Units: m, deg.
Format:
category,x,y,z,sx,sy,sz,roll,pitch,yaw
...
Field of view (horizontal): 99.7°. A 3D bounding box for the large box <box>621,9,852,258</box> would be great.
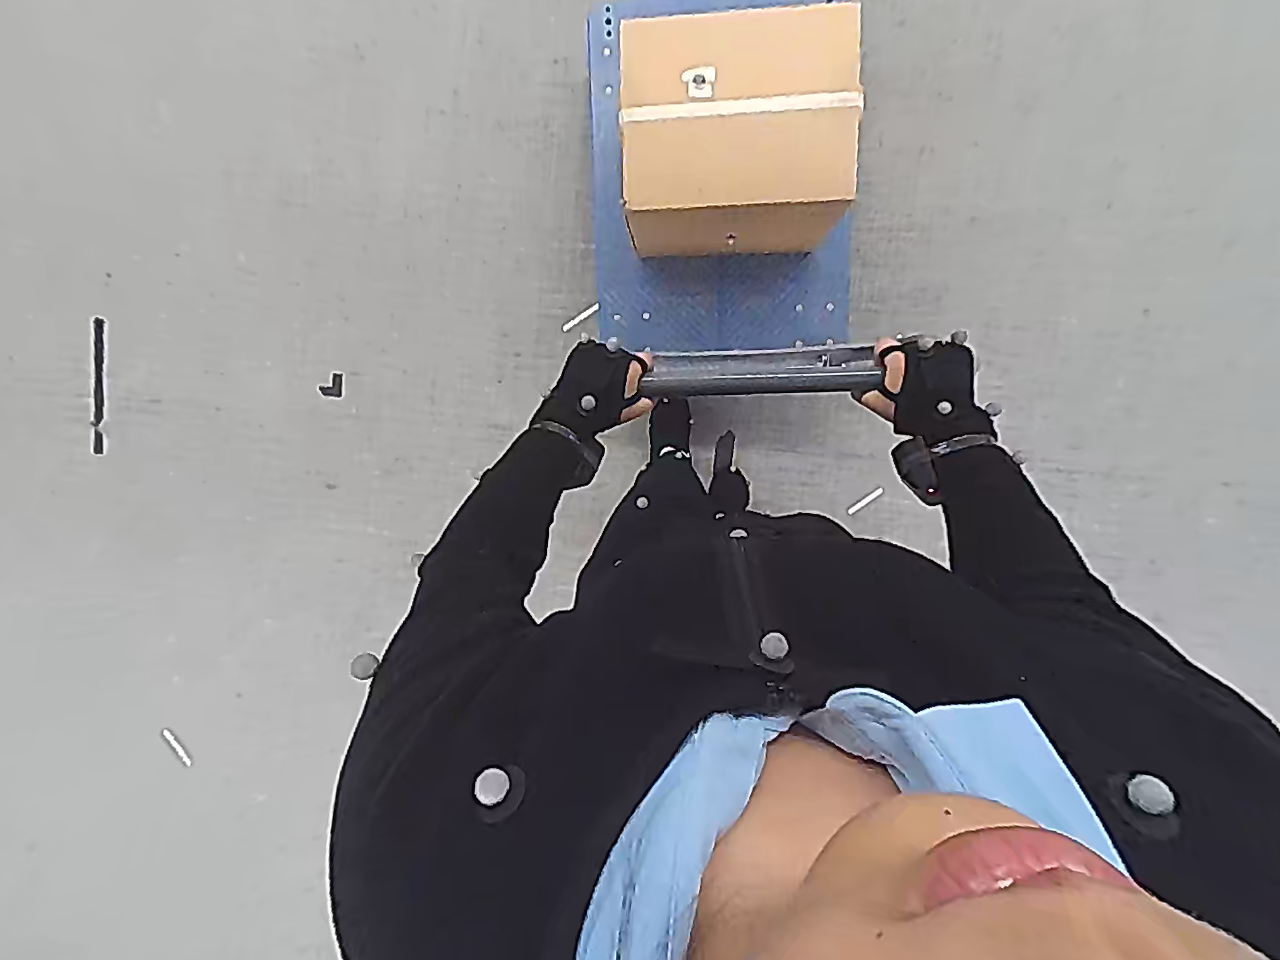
category,x,y,z,sx,sy,sz,roll,pitch,yaw
large box,0.185,-0.659,1.097,0.408,0.320,0.320,-1,96,6
